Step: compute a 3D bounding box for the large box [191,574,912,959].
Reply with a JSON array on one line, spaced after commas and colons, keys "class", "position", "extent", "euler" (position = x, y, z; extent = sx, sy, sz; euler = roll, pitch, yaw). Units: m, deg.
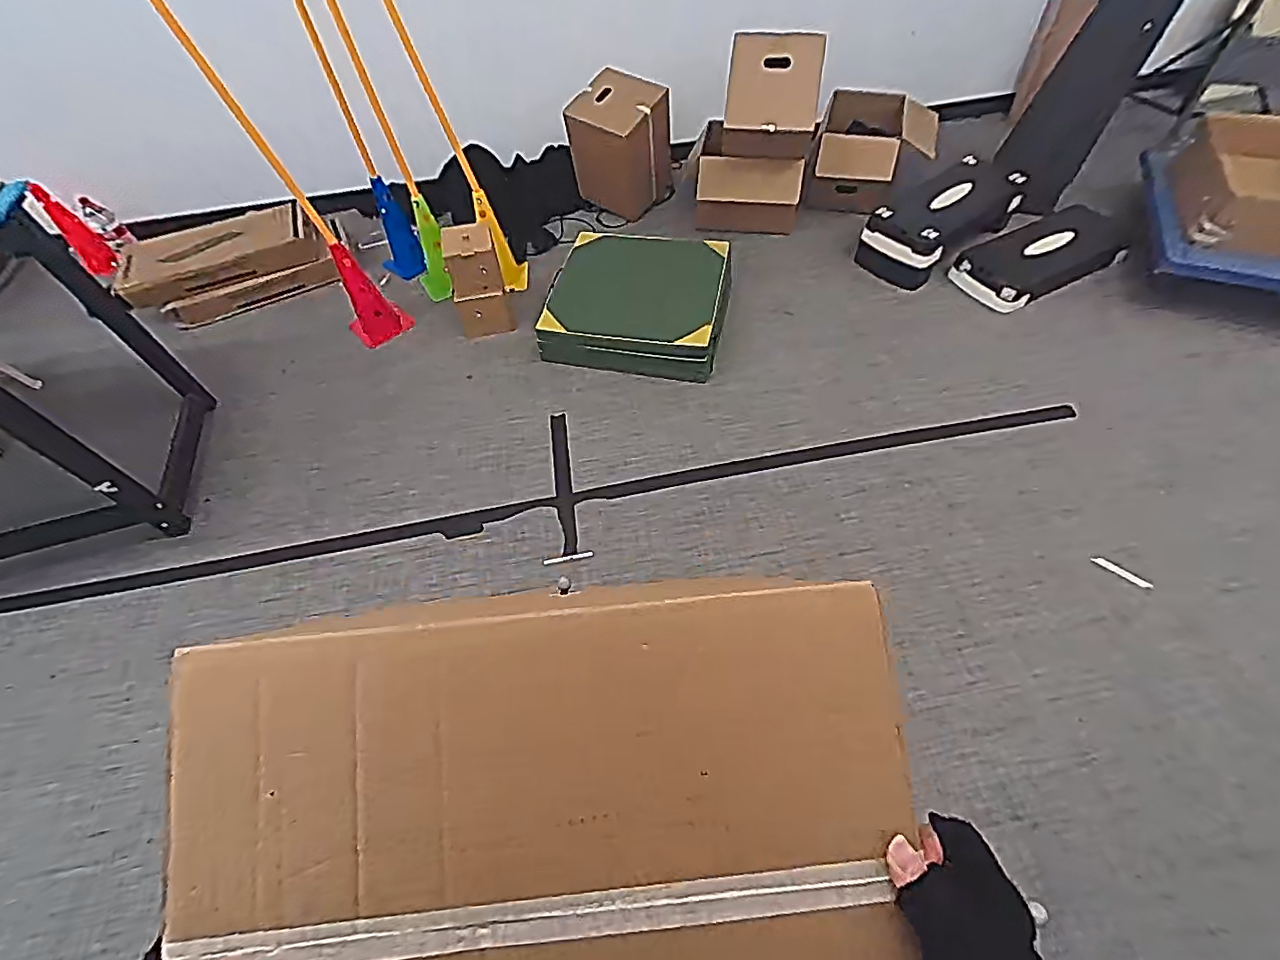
[{"class": "large box", "position": [-0.050, 0.260, 0.452], "extent": [0.408, 0.320, 0.320], "euler": [-5, 81, -2]}]
